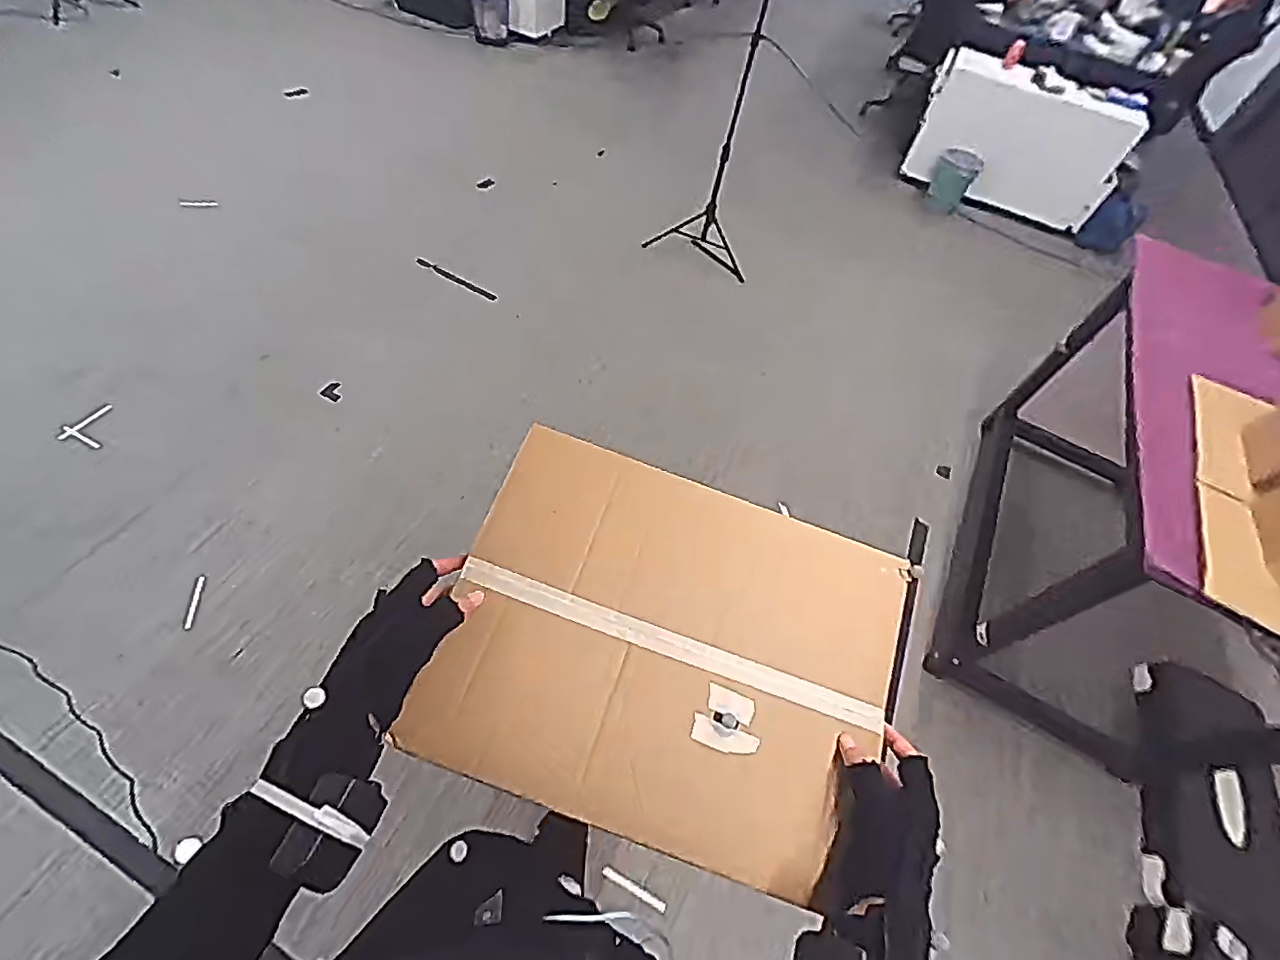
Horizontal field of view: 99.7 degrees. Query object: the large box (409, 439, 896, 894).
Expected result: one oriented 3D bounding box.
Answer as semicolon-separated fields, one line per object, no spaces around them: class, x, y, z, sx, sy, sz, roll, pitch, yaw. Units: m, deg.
large box;0.016;0.203;0.652;0.408;0.320;0.320;21;71;1
